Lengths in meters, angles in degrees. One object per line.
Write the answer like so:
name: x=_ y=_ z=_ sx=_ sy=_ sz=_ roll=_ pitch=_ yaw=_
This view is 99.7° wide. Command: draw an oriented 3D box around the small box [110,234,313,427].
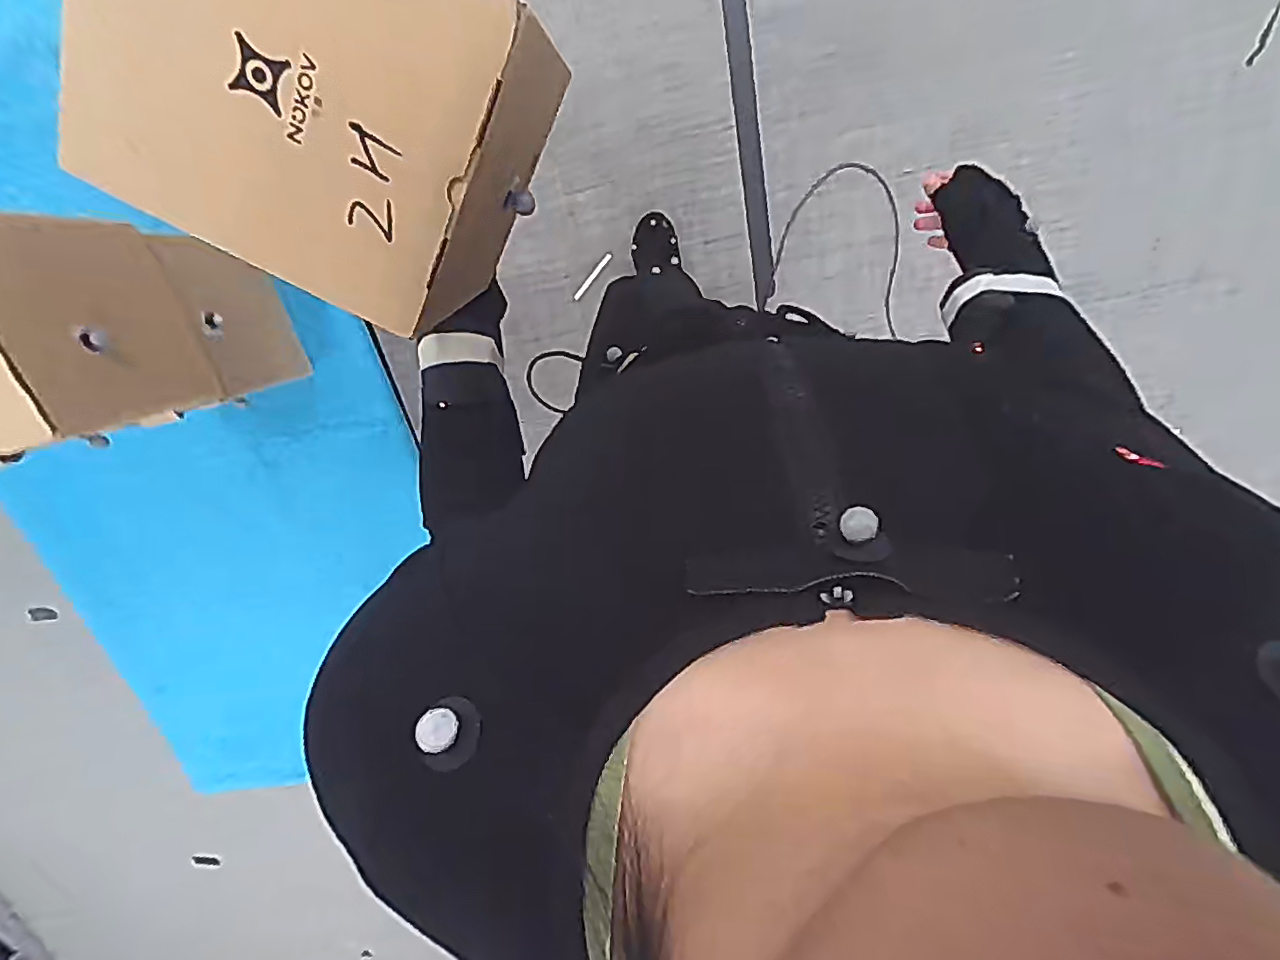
small box: x=-0.537 y=-0.183 z=0.643 sx=0.168 sy=0.176 sz=0.179 roll=-11 pitch=111 yaw=9

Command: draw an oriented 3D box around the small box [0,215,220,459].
small box: x=-0.545 y=-0.128 z=0.490 sx=0.168 sy=0.176 sz=0.179 roll=-14 pitch=110 yaw=10

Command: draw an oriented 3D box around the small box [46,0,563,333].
small box: x=-0.163 y=-0.218 z=0.314 sx=0.179 sy=0.176 sz=0.168 roll=29 pitch=117 yaw=-17
